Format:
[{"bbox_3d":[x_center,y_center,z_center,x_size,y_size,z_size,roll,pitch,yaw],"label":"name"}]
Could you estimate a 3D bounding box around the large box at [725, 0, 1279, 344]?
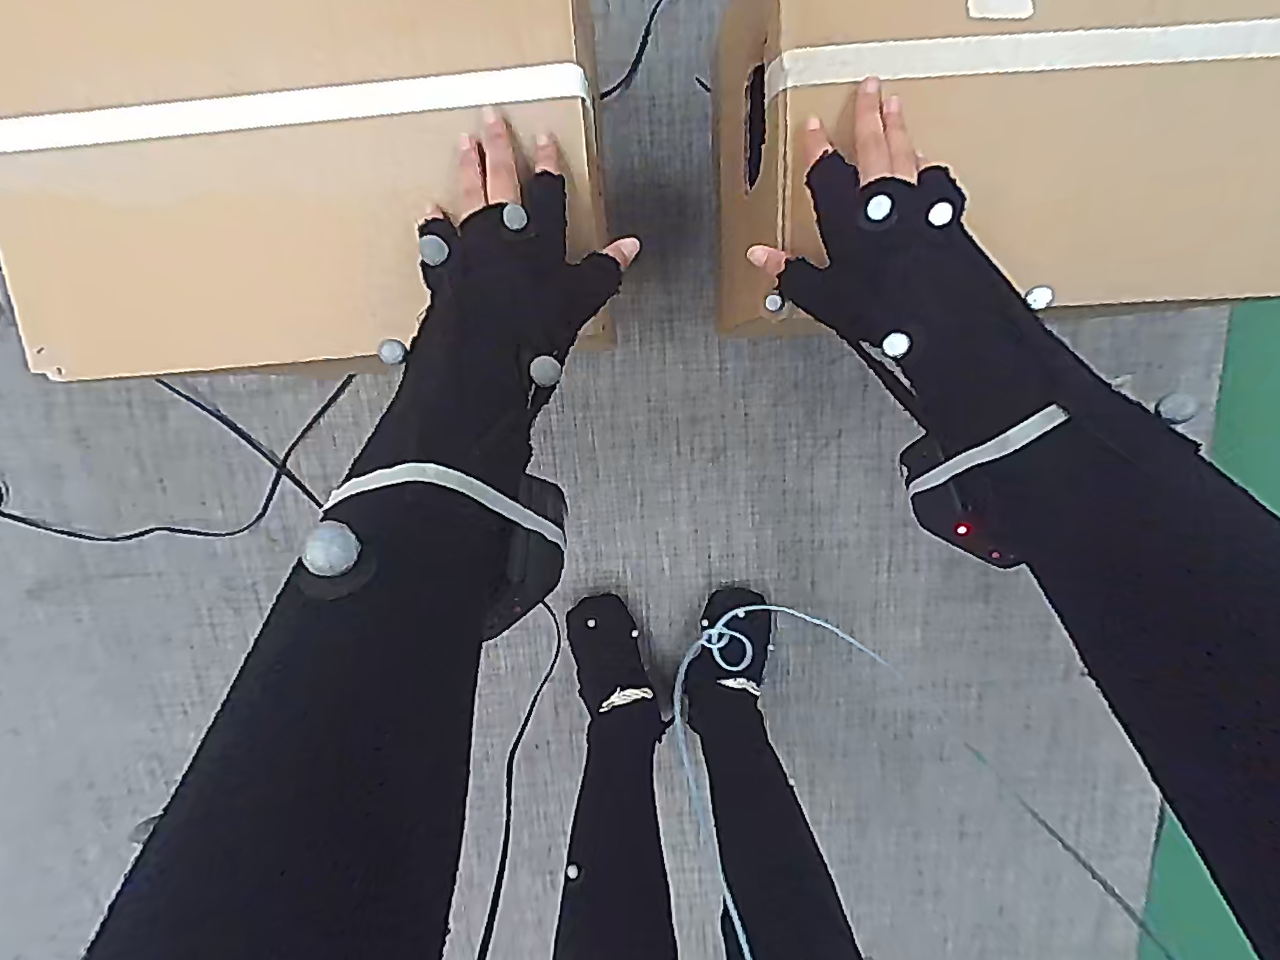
[{"bbox_3d":[0.303,-0.301,0.527,0.408,0.320,0.320,-2,102,1],"label":"large box"}]
